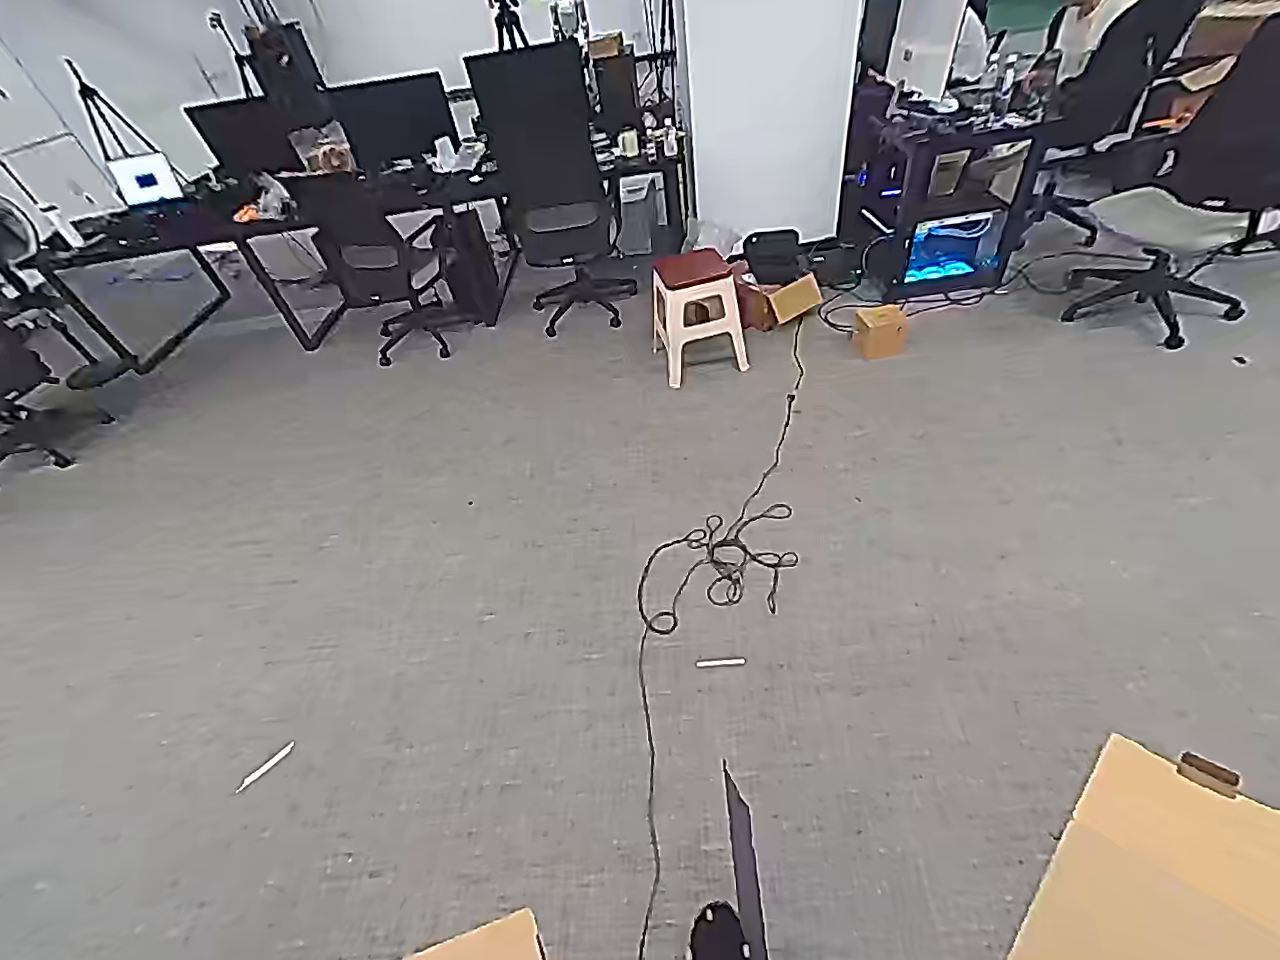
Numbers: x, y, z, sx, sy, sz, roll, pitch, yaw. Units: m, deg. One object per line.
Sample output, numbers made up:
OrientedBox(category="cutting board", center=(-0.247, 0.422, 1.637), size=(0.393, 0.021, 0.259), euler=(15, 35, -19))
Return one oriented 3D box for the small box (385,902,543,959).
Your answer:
OrientedBox(category="small box", center=(-0.189, 0.597, 0.557), size=(0.179, 0.176, 0.168), euler=(0, 31, -31))
